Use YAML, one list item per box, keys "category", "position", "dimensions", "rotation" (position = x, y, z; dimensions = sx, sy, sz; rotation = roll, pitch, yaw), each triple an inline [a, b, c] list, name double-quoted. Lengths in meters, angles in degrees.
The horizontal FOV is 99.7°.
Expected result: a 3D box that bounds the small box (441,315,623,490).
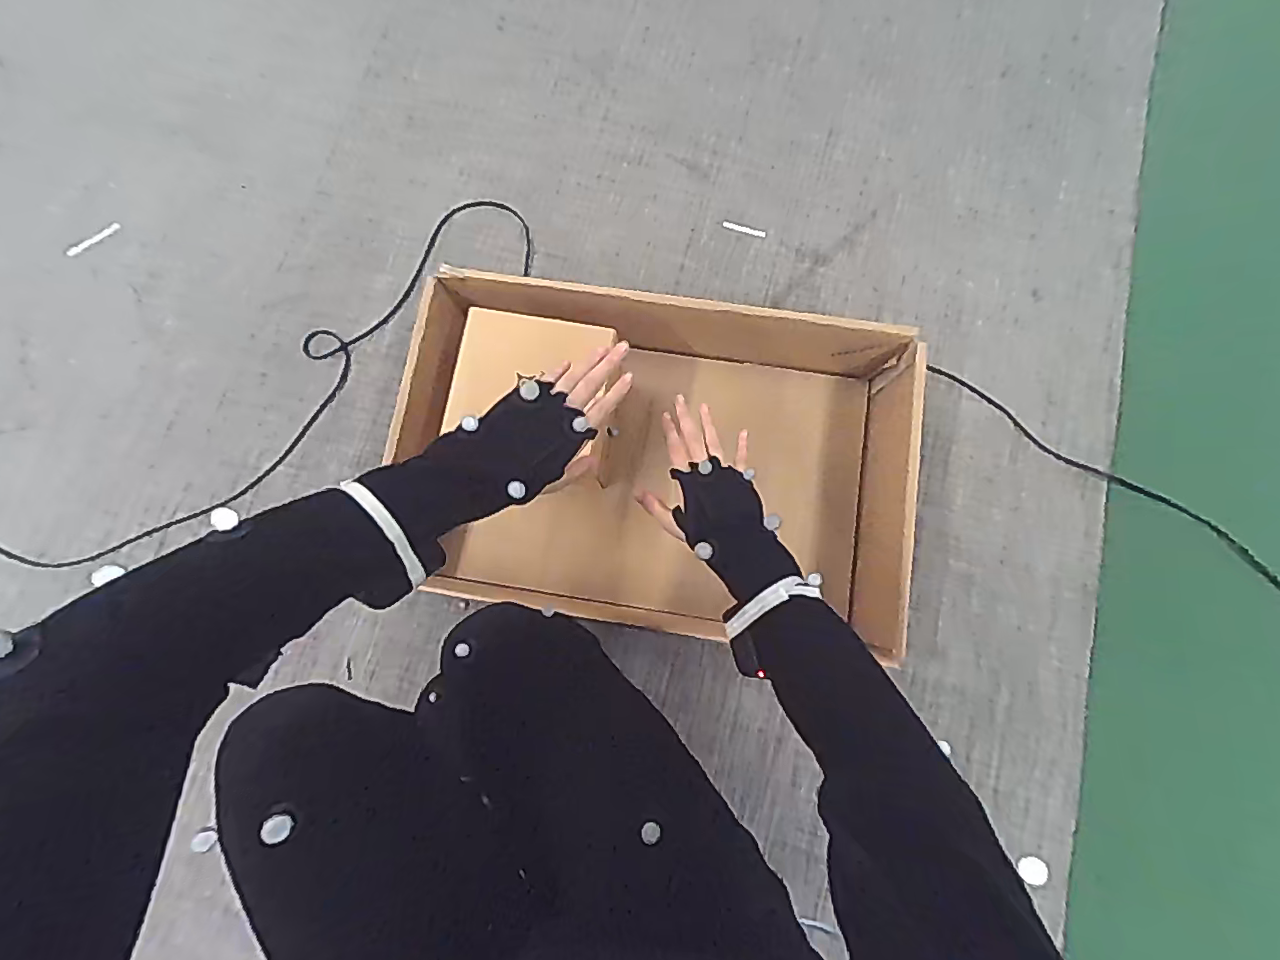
- category: "small box"
  position: [-0.124, -0.088, 0.696]
  dimensions: [0.179, 0.176, 0.168]
  rotation: [10, 81, 3]
